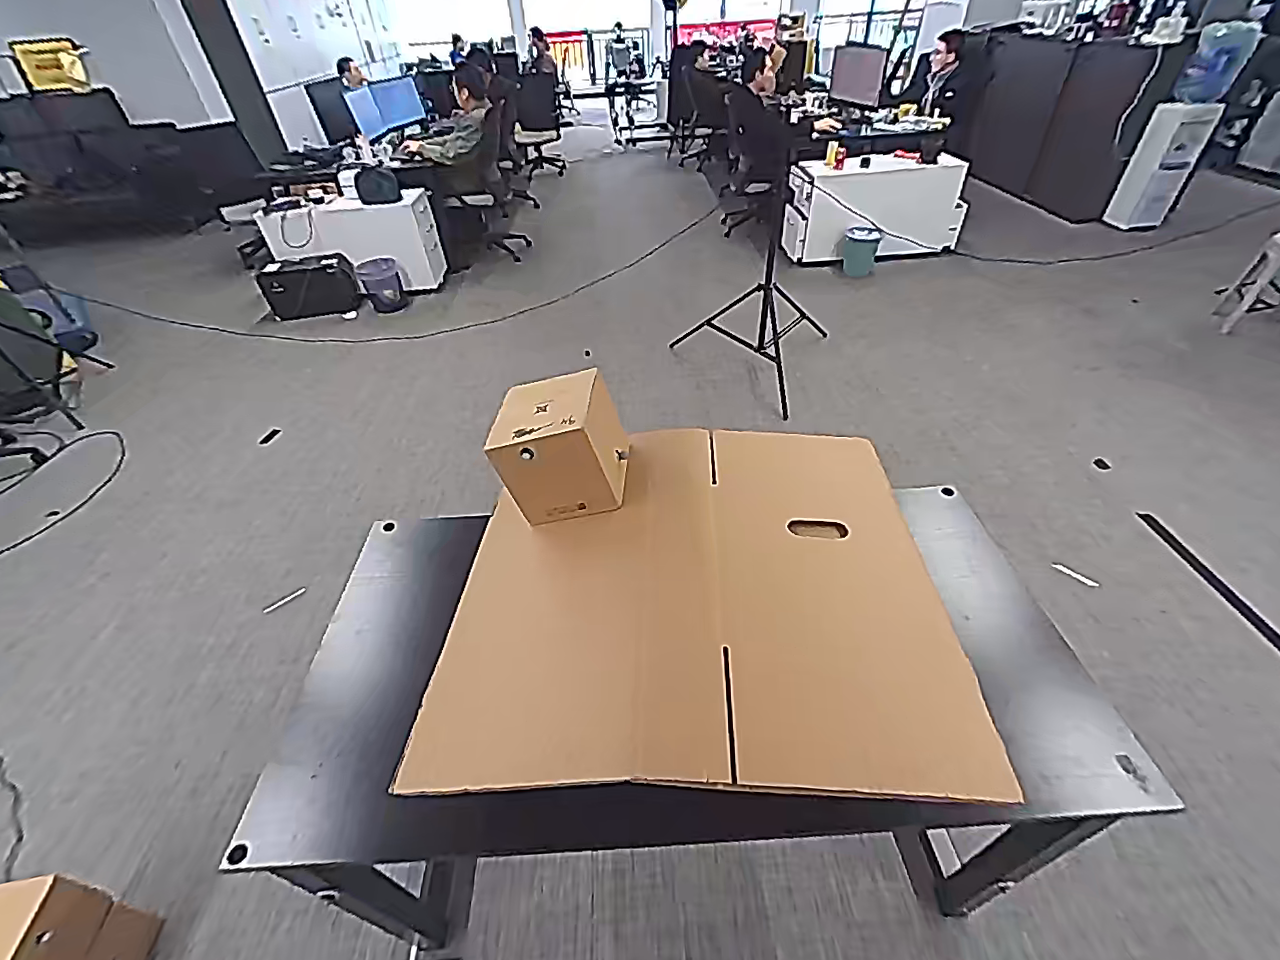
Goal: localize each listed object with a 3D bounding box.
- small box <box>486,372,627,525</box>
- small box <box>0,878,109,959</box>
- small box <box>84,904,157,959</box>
[{"bbox_3d":[-0.126,-0.051,0.901,0.168,0.176,0.179,-12,38,14],"label":"small box"},{"bbox_3d":[-1.169,0.884,1.009,0.168,0.176,0.179,-8,40,-6],"label":"small box"},{"bbox_3d":[-1.159,1.010,1.112,0.168,0.176,0.179,-7,42,-3],"label":"small box"}]
